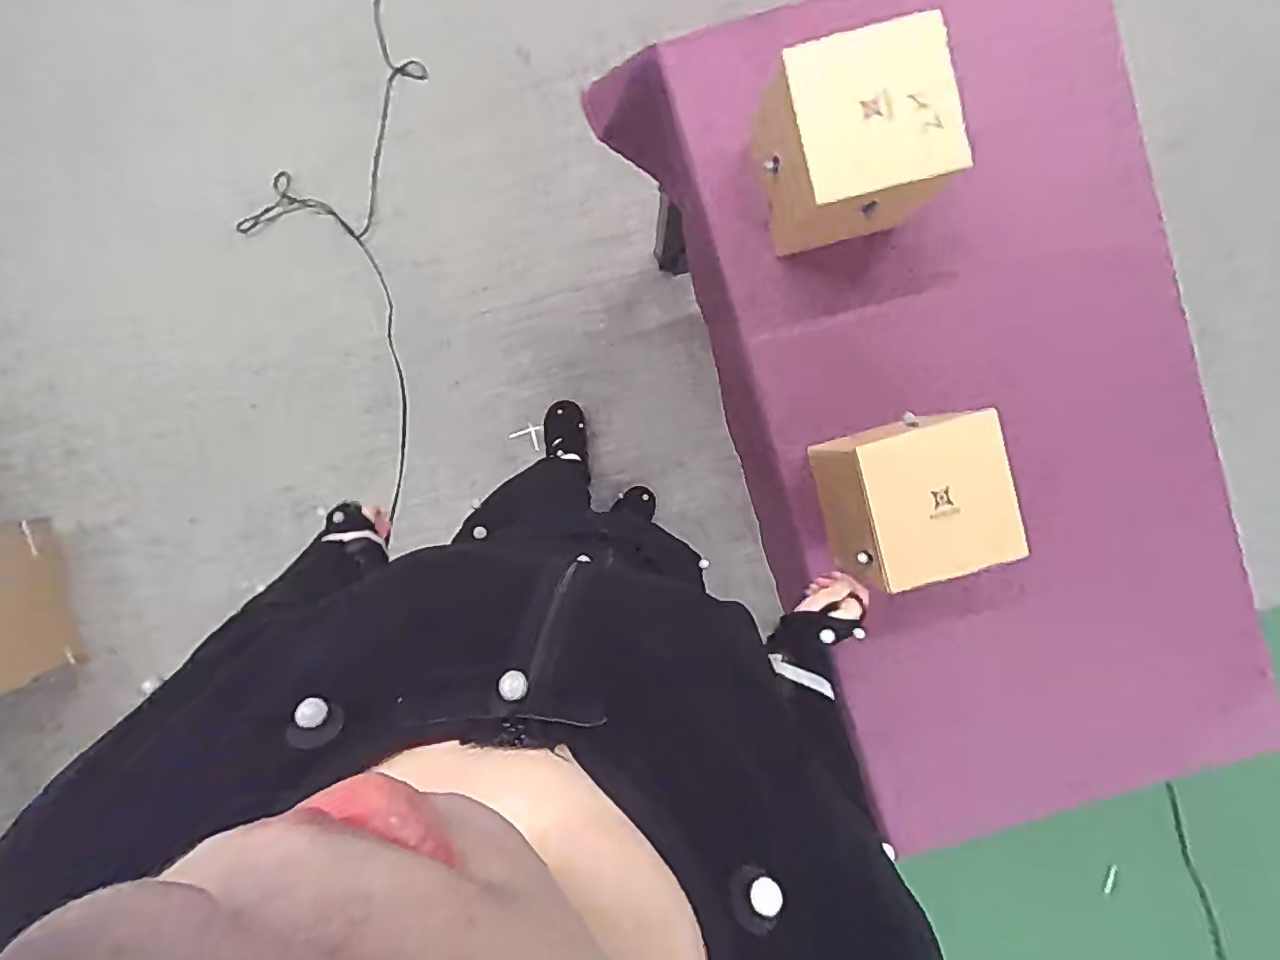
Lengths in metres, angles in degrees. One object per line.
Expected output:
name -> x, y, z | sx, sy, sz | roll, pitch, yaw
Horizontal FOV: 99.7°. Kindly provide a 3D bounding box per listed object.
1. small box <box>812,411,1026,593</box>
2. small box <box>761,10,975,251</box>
small box -> 0.337, 0.021, 0.687 | 0.168, 0.176, 0.179 | -15, 95, 0
small box -> 0.255, -0.398, 0.650 | 0.179, 0.176, 0.168 | -14, 95, 0
